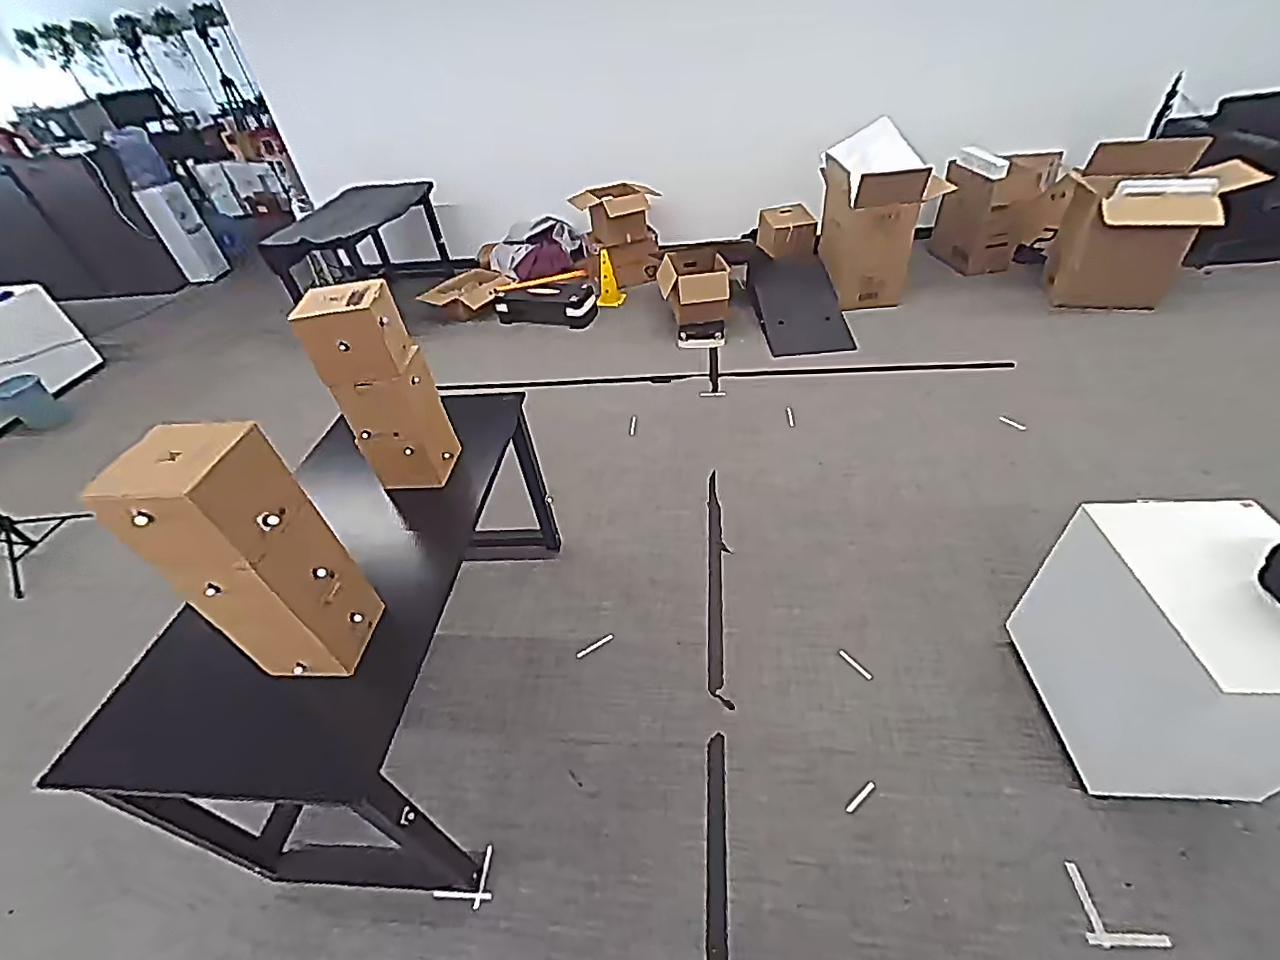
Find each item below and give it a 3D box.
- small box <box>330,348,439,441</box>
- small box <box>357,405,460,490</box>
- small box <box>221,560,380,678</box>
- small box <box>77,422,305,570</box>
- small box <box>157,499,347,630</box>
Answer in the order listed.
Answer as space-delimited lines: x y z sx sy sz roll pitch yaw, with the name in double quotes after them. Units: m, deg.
-0.623 -0.208 1.348 0.168 0.176 0.179 -4 41 3 "small box"
-0.614 -0.085 1.458 0.179 0.176 0.168 -2 42 6 "small box"
-0.646 0.273 1.059 0.179 0.176 0.168 -2 41 5 "small box"
-0.678 0.028 0.843 0.179 0.176 0.168 -2 43 5 "small box"
-0.663 0.150 0.950 0.179 0.176 0.168 -2 42 6 "small box"
